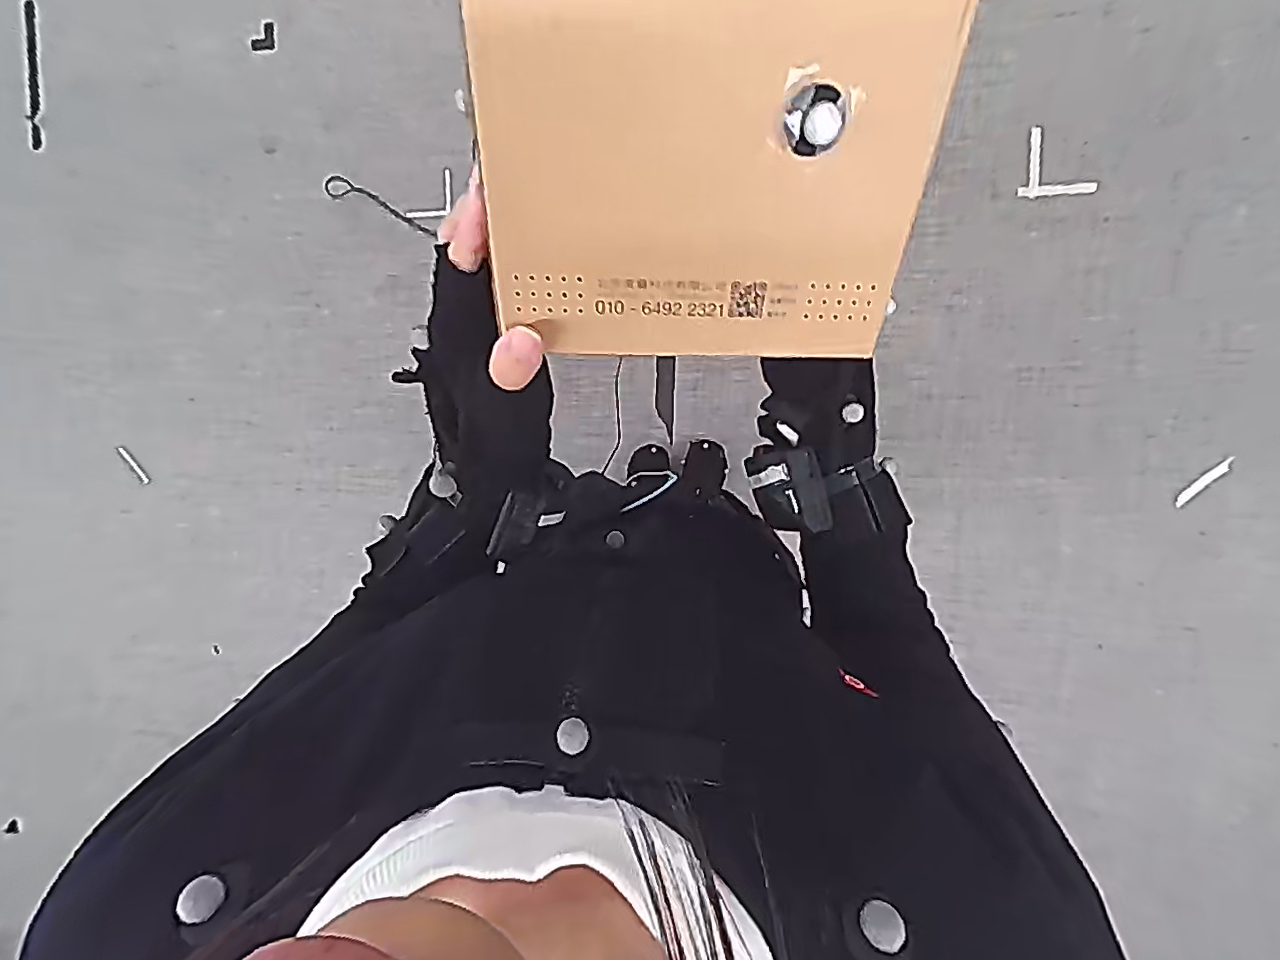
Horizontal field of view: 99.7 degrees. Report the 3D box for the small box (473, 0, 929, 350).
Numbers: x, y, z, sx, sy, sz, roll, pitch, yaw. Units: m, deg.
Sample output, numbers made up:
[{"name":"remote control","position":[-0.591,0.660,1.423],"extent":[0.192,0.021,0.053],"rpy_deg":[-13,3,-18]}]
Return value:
[{"name":"small box","position":[0.022,-0.176,0.278],"extent":[0.168,0.179,0.176],"rpy_deg":[1,126,-2]}]
